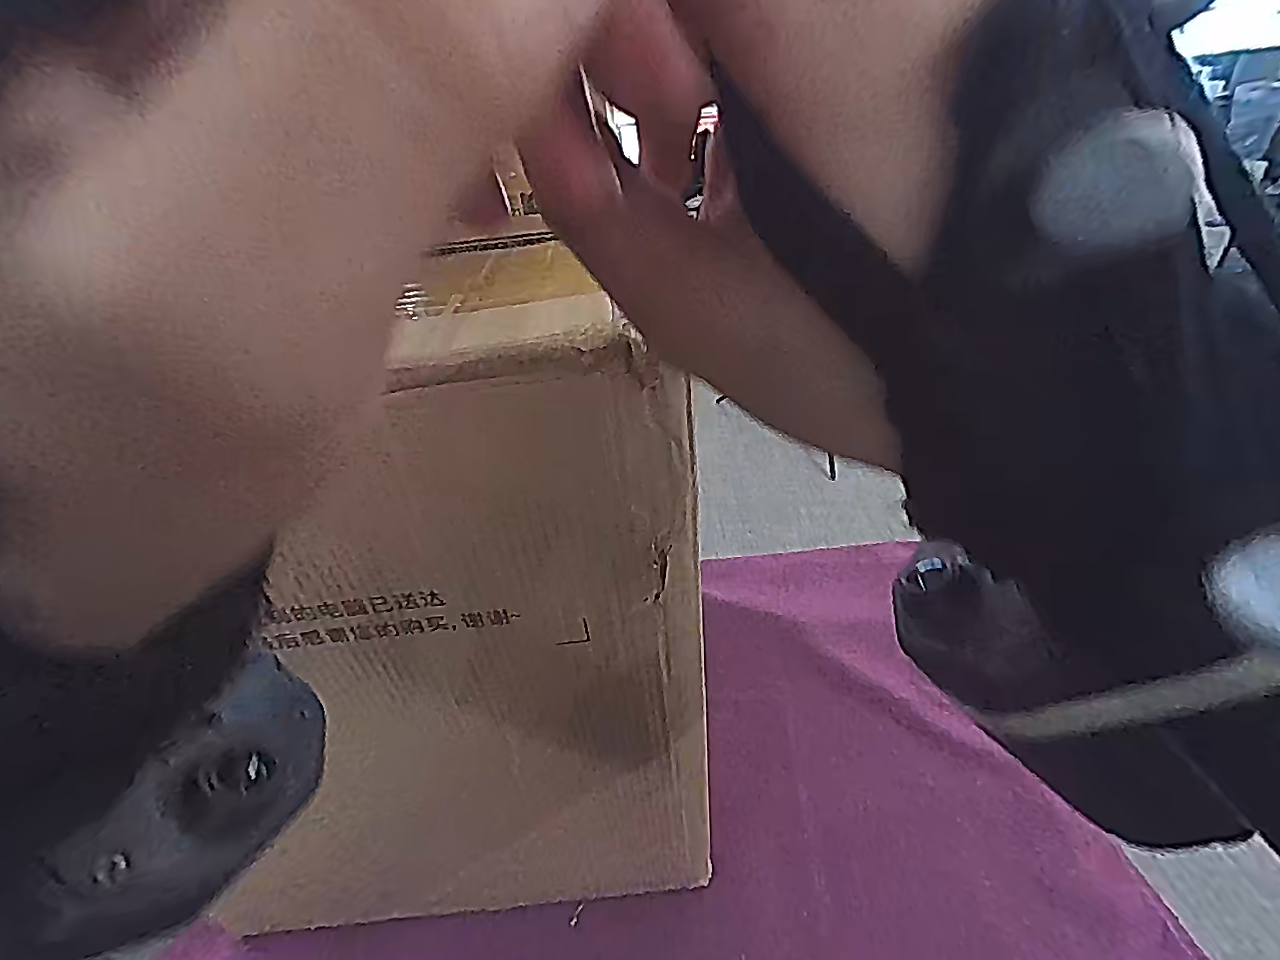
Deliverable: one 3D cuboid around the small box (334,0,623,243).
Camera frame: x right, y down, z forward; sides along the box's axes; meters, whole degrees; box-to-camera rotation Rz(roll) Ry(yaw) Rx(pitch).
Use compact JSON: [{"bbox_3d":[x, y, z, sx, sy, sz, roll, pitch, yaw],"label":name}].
[{"bbox_3d":[-0.106,-0.295,0.426,0.168,0.176,0.179,-6,35,3],"label":"small box"}]
